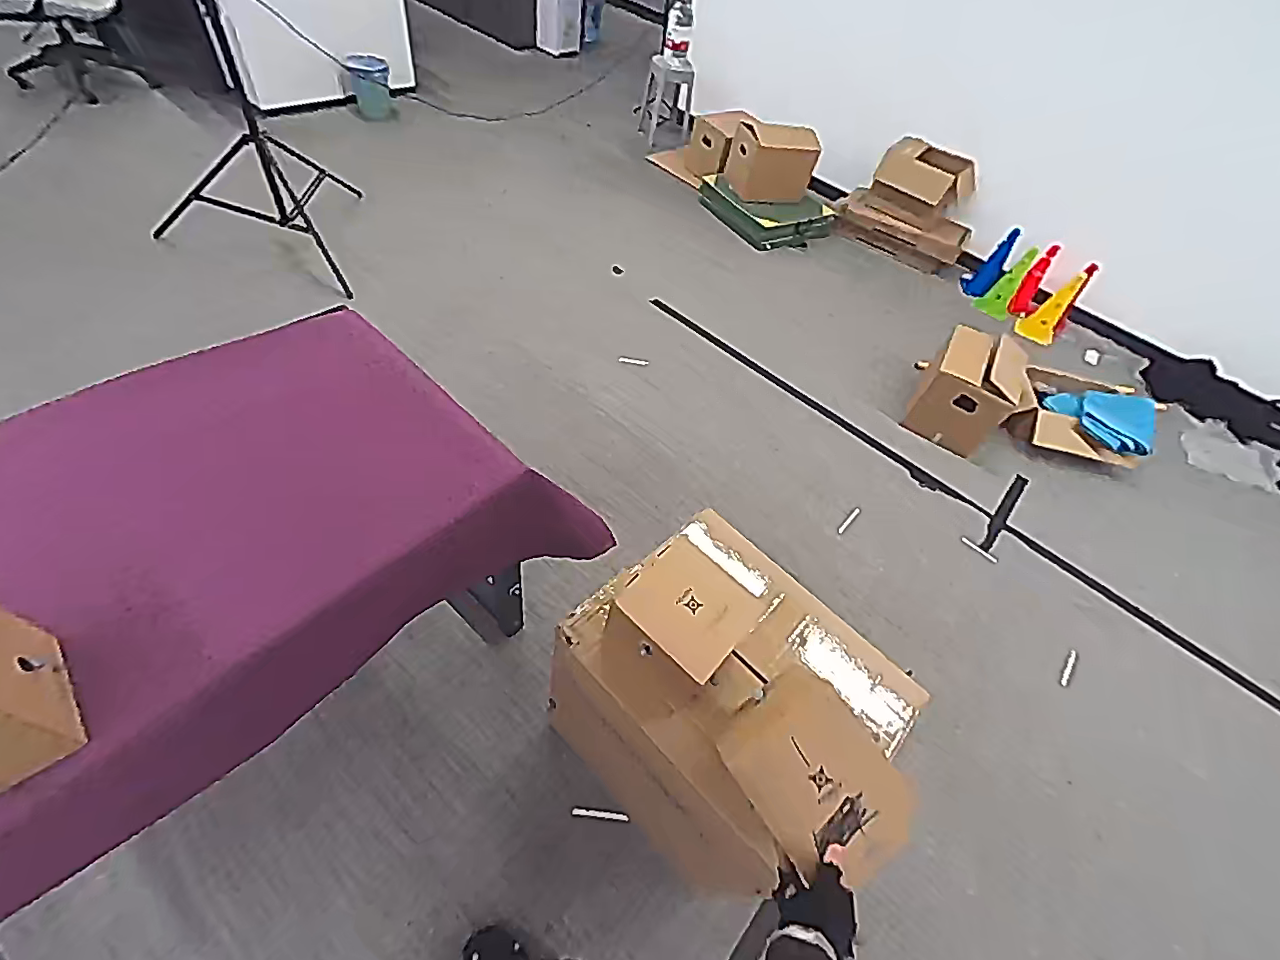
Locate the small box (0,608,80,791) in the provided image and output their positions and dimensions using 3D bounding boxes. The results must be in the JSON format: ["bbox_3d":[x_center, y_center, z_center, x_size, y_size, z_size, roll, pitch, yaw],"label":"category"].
[{"bbox_3d":[-0.741,0.240,0.559,0.179,0.176,0.168,-31,63,-31],"label":"small box"}]

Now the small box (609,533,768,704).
[{"bbox_3d":[0.067,0.225,0.864,0.179,0.176,0.168,39,58,18],"label":"small box"}]

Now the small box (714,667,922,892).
[{"bbox_3d":[0.219,0.374,0.717,0.168,0.176,0.179,-36,80,-7],"label":"small box"}]
